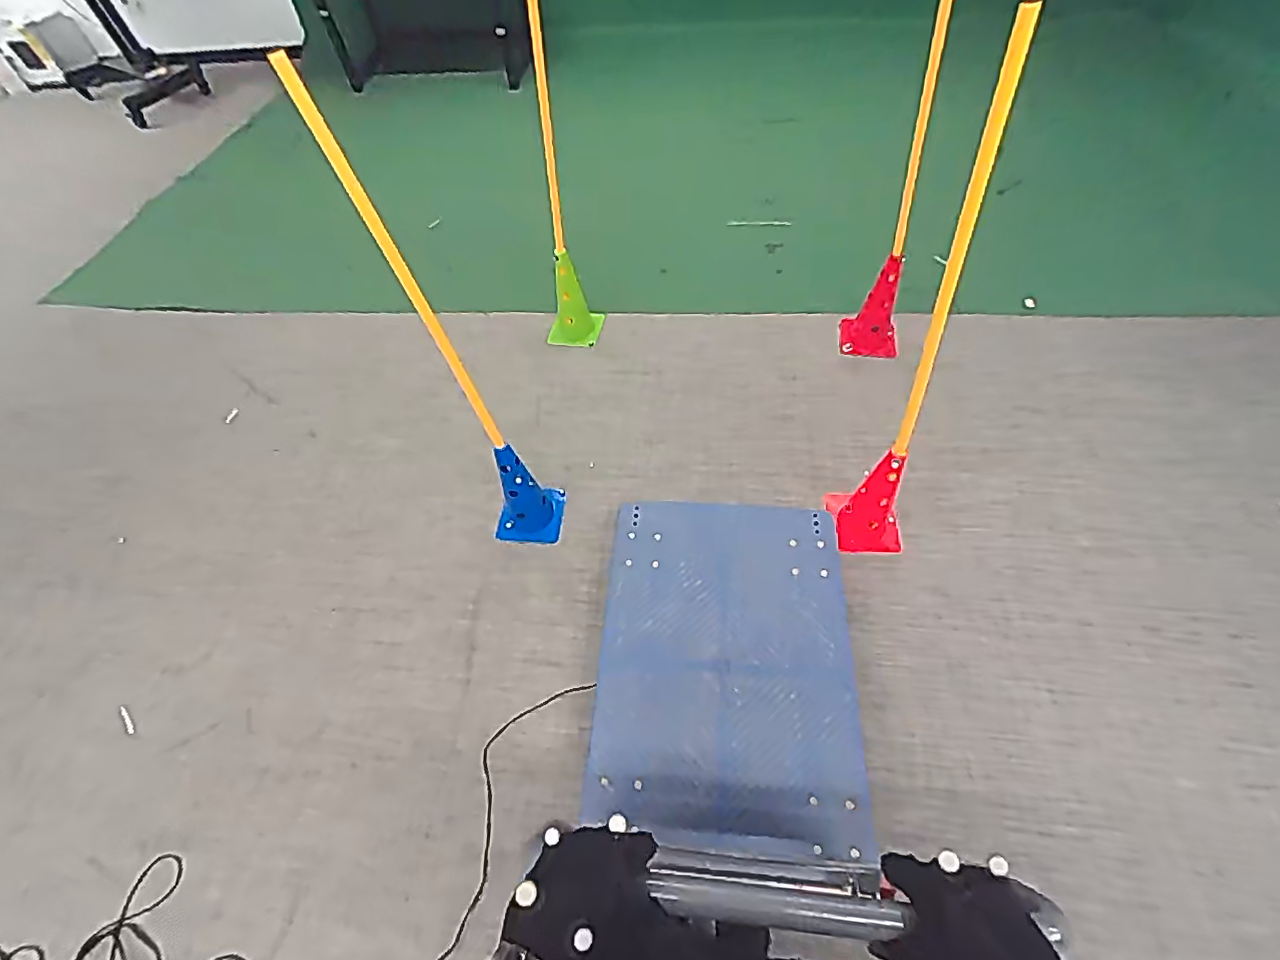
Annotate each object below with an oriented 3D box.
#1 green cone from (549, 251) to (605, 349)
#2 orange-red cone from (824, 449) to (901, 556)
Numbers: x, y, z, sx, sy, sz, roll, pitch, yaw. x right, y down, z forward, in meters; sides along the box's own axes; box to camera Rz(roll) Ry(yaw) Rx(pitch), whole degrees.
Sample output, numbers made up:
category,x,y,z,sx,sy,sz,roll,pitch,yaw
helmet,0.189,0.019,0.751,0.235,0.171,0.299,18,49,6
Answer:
category,x,y,z,sx,sy,sz,roll,pitch,yaw
green cone,-0.270,-0.706,2.075,0.202,0.368,0.200,6,55,10
orange-red cone,0.645,0.040,1.487,0.199,0.360,0.198,1,55,8
